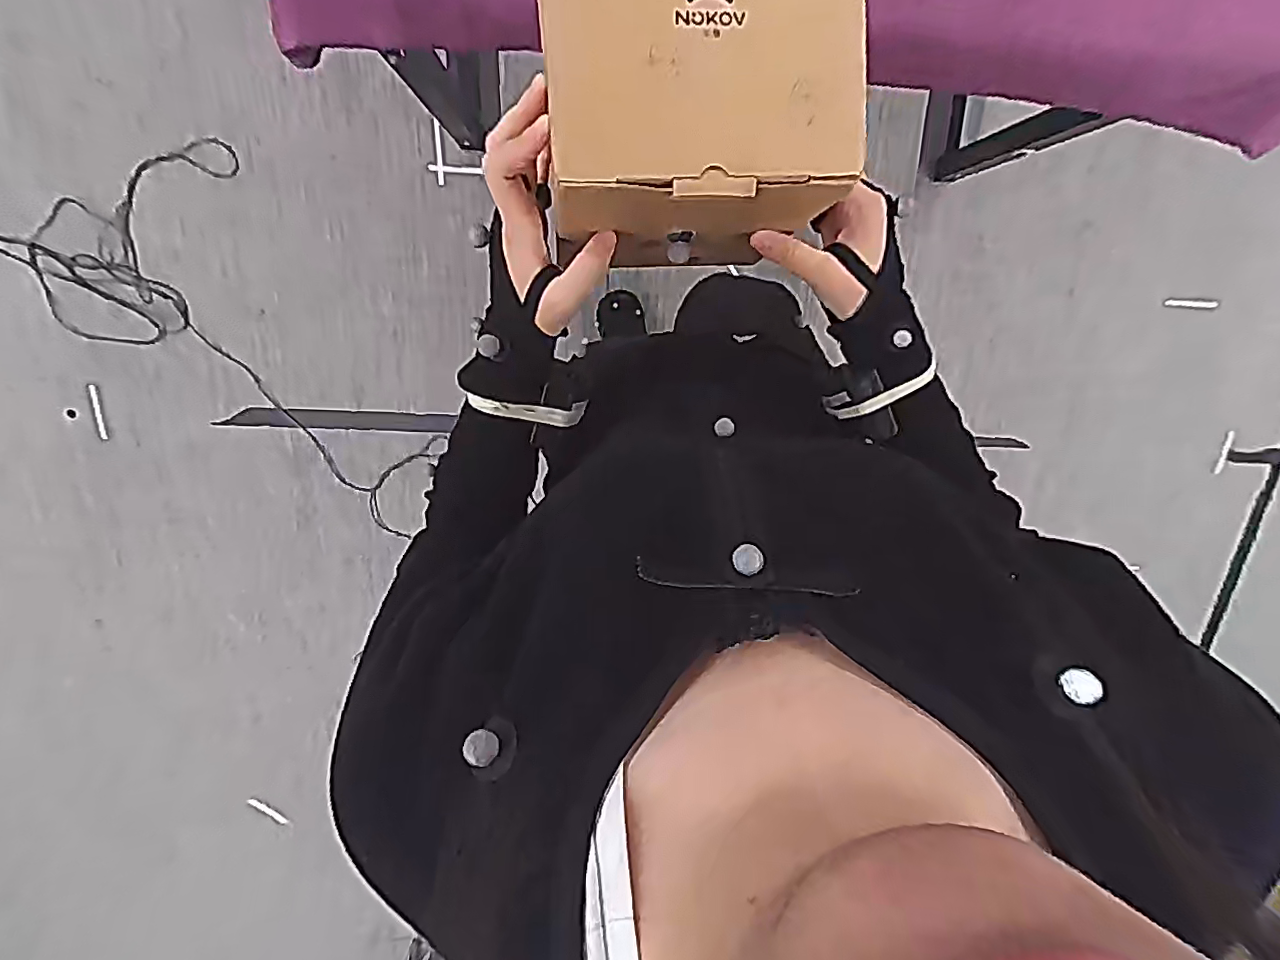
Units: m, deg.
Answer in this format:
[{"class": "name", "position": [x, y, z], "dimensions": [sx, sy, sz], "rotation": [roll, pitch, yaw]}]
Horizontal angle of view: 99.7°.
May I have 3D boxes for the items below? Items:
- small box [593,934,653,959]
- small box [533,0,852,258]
[{"class": "small box", "position": [-0.049, 1.470, 1.579], "dimensions": [0.179, 0.176, 0.168], "rotation": [1, 106, -4]}, {"class": "small box", "position": [0.019, -0.252, 0.351], "dimensions": [0.168, 0.176, 0.179], "rotation": [-4, 98, -8]}]
